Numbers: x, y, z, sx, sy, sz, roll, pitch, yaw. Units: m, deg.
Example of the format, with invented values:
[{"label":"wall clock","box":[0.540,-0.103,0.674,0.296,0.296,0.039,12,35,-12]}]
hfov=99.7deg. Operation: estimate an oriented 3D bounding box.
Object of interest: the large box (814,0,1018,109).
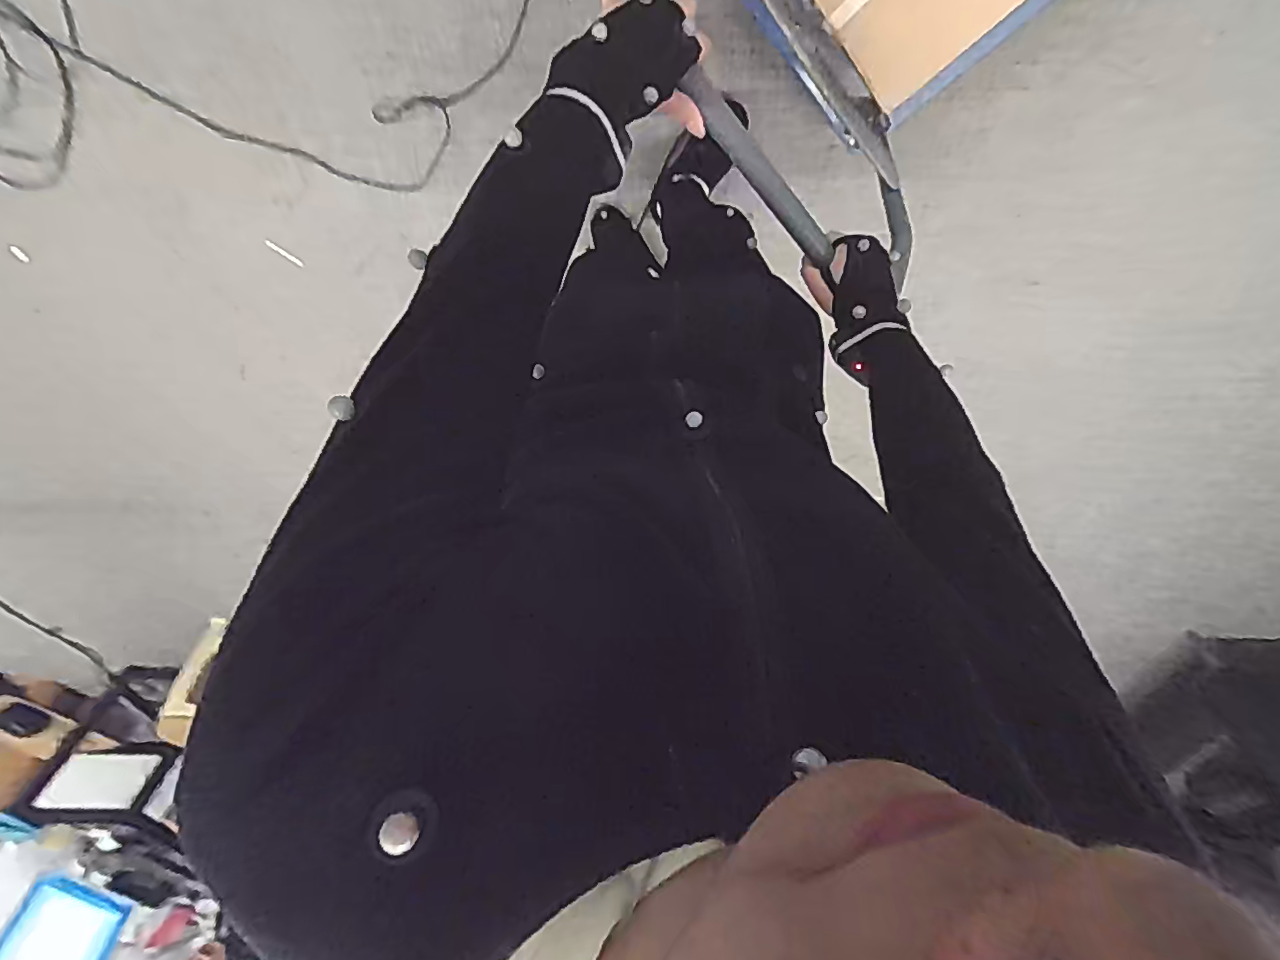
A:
[{"label":"large box","box":[0.427,-0.834,0.743,0.320,0.320,0.408,37,131,-25]}]
